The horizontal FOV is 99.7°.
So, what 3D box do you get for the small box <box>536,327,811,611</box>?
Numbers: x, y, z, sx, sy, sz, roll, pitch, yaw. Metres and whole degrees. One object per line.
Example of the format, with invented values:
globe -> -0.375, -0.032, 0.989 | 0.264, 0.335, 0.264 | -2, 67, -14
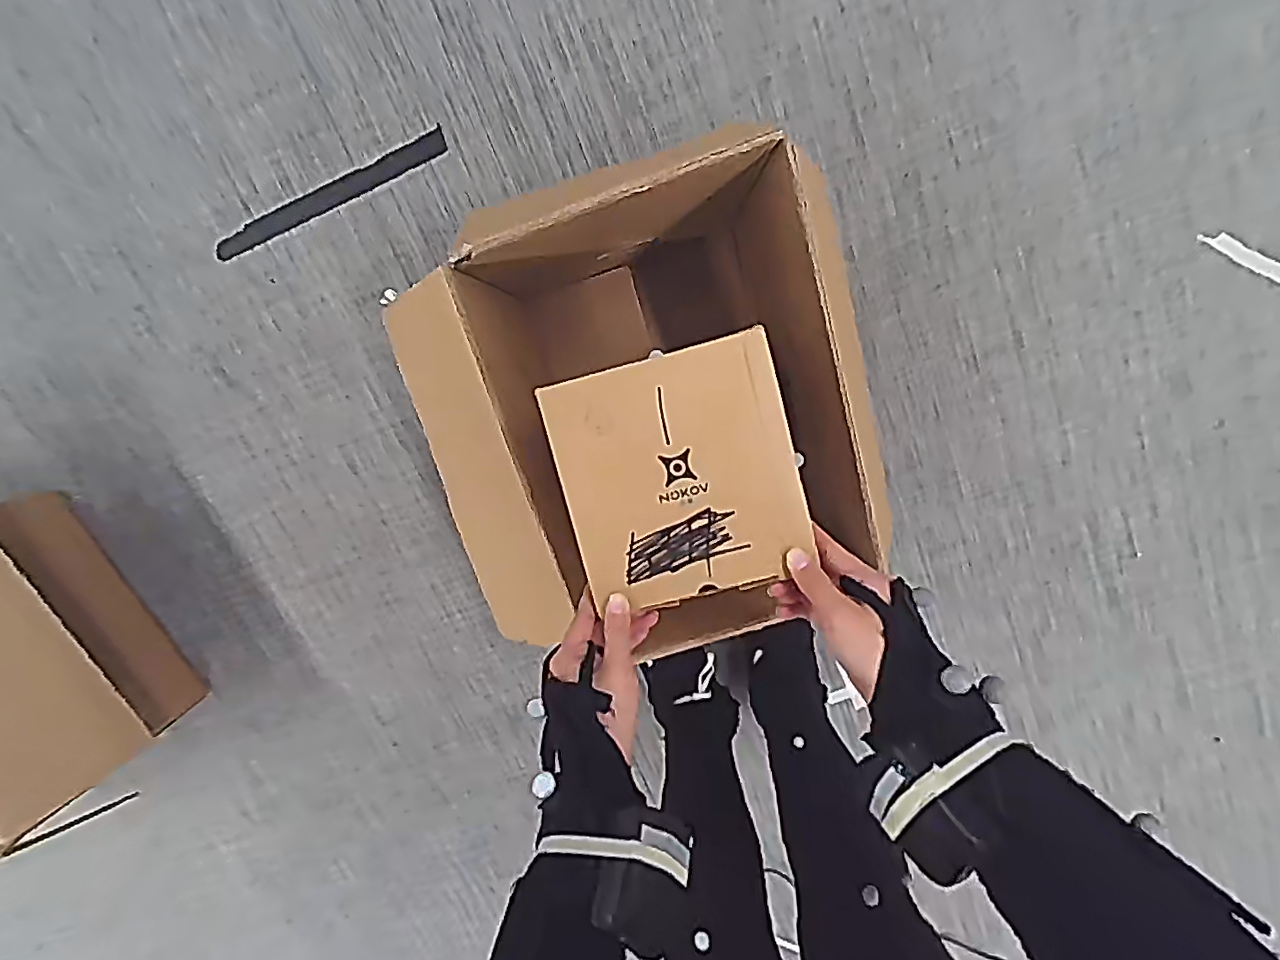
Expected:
small box -> 0.030, -0.013, 0.464 | 0.168, 0.176, 0.179 | -14, 95, 5
